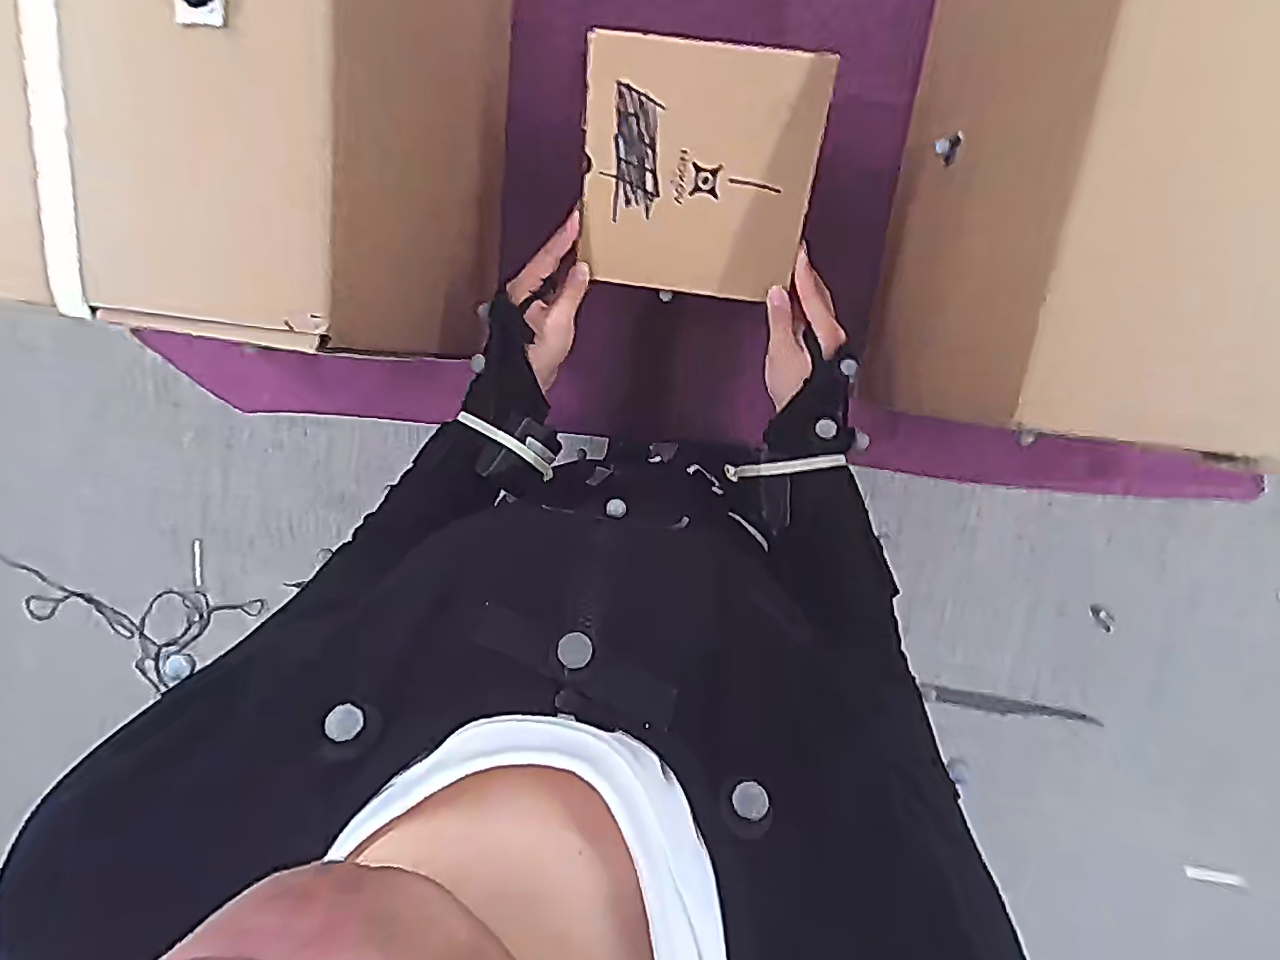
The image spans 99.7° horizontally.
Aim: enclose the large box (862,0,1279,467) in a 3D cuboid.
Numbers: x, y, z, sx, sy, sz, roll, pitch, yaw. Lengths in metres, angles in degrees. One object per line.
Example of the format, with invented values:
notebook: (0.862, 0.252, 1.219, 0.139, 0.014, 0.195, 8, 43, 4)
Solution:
large box: (0.392, -0.223, 0.394, 0.320, 0.320, 0.408, 8, 100, 3)
